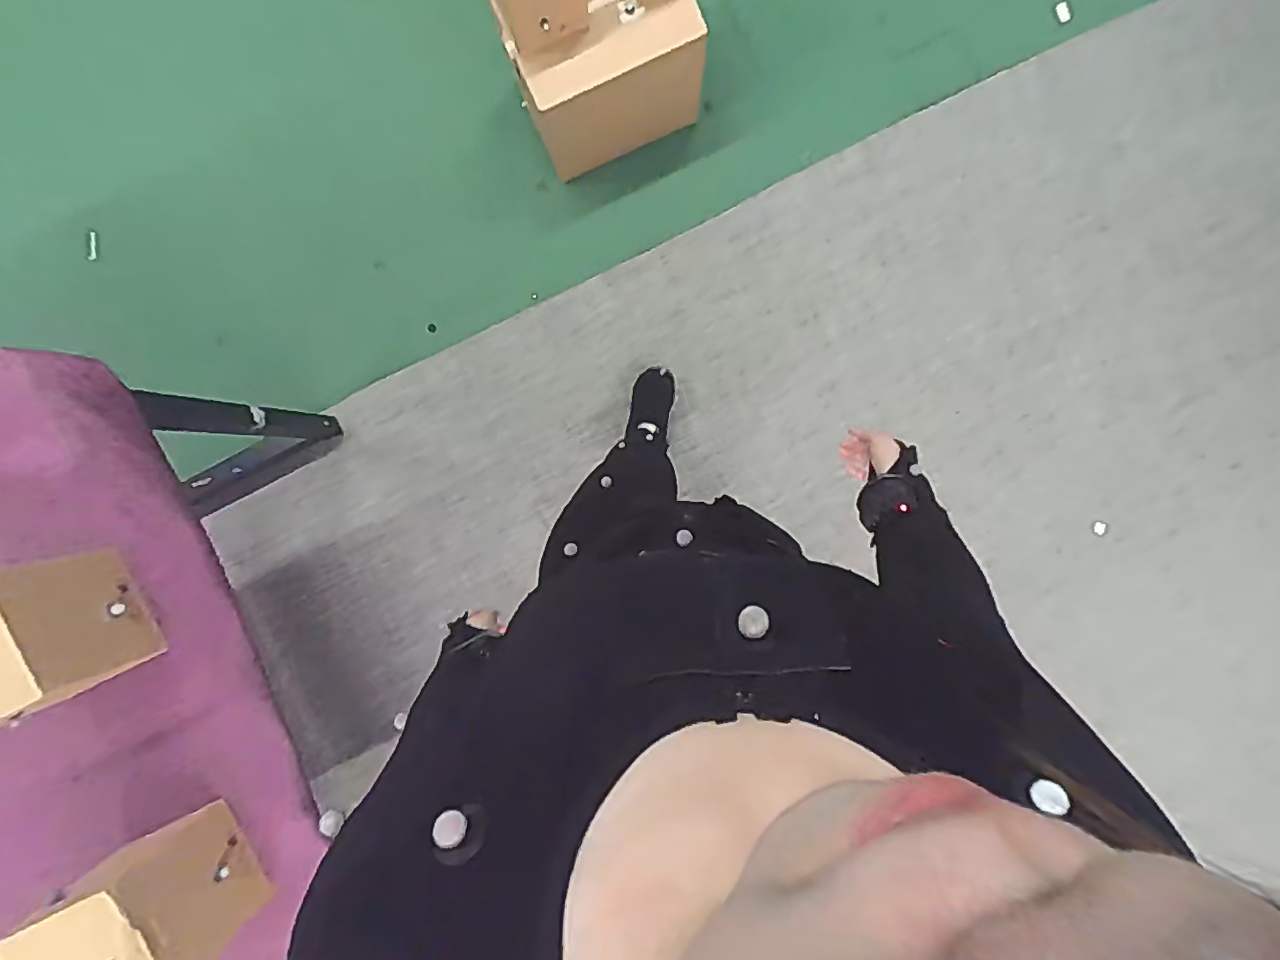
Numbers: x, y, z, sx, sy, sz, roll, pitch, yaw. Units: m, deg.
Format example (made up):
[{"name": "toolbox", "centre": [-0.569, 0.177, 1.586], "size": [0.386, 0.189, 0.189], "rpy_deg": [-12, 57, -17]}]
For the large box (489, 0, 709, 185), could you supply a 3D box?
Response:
[{"name": "large box", "centre": [-0.090, -1.008, 1.308], "size": [0.408, 0.320, 0.320], "rpy_deg": [-24, 92, 1]}]

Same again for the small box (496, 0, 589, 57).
[{"name": "small box", "centre": [-0.212, -1.004, 1.068], "size": [0.168, 0.176, 0.179], "rpy_deg": [-24, 91, 1]}]

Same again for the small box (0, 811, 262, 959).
[{"name": "small box", "centre": [-0.652, 0.582, 0.701], "size": [0.179, 0.176, 0.168], "rpy_deg": [-27, 91, 3]}]

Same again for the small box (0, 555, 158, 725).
[{"name": "small box", "centre": [-0.796, 0.214, 0.695], "size": [0.179, 0.176, 0.168], "rpy_deg": [-25, 91, 2]}]
